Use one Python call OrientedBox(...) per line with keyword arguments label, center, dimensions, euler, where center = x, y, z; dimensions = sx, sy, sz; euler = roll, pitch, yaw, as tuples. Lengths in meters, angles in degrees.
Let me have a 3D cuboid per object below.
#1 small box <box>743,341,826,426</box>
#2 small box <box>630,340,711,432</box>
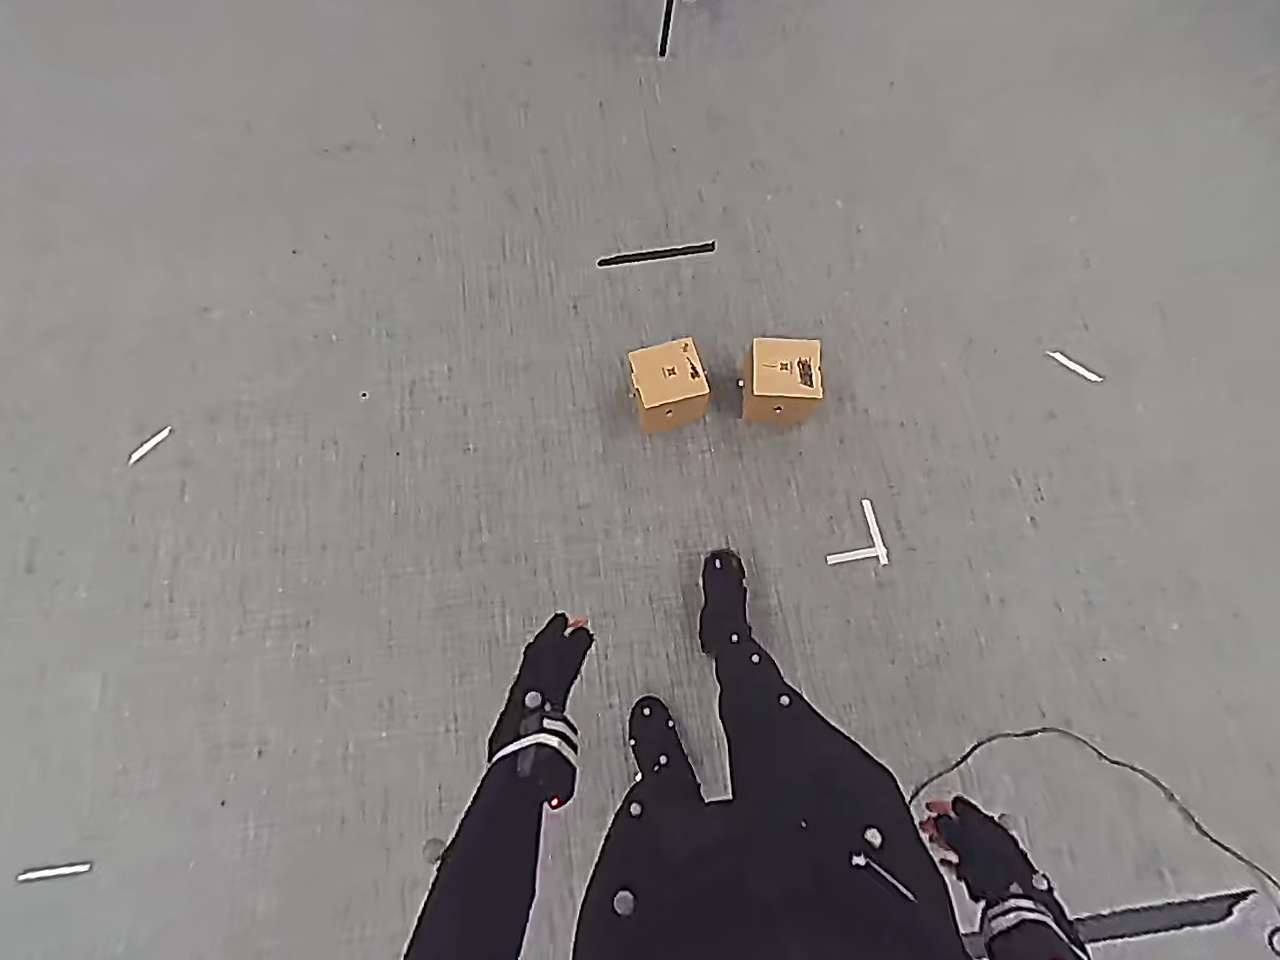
OrientedBox(label="small box", center=(0.380, -0.252, 1.446), dimensions=(0.179, 0.176, 0.168), euler=(2, 73, 0))
OrientedBox(label="small box", center=(0.079, -0.244, 1.446), dimensions=(0.179, 0.176, 0.168), euler=(-15, 75, -3))
